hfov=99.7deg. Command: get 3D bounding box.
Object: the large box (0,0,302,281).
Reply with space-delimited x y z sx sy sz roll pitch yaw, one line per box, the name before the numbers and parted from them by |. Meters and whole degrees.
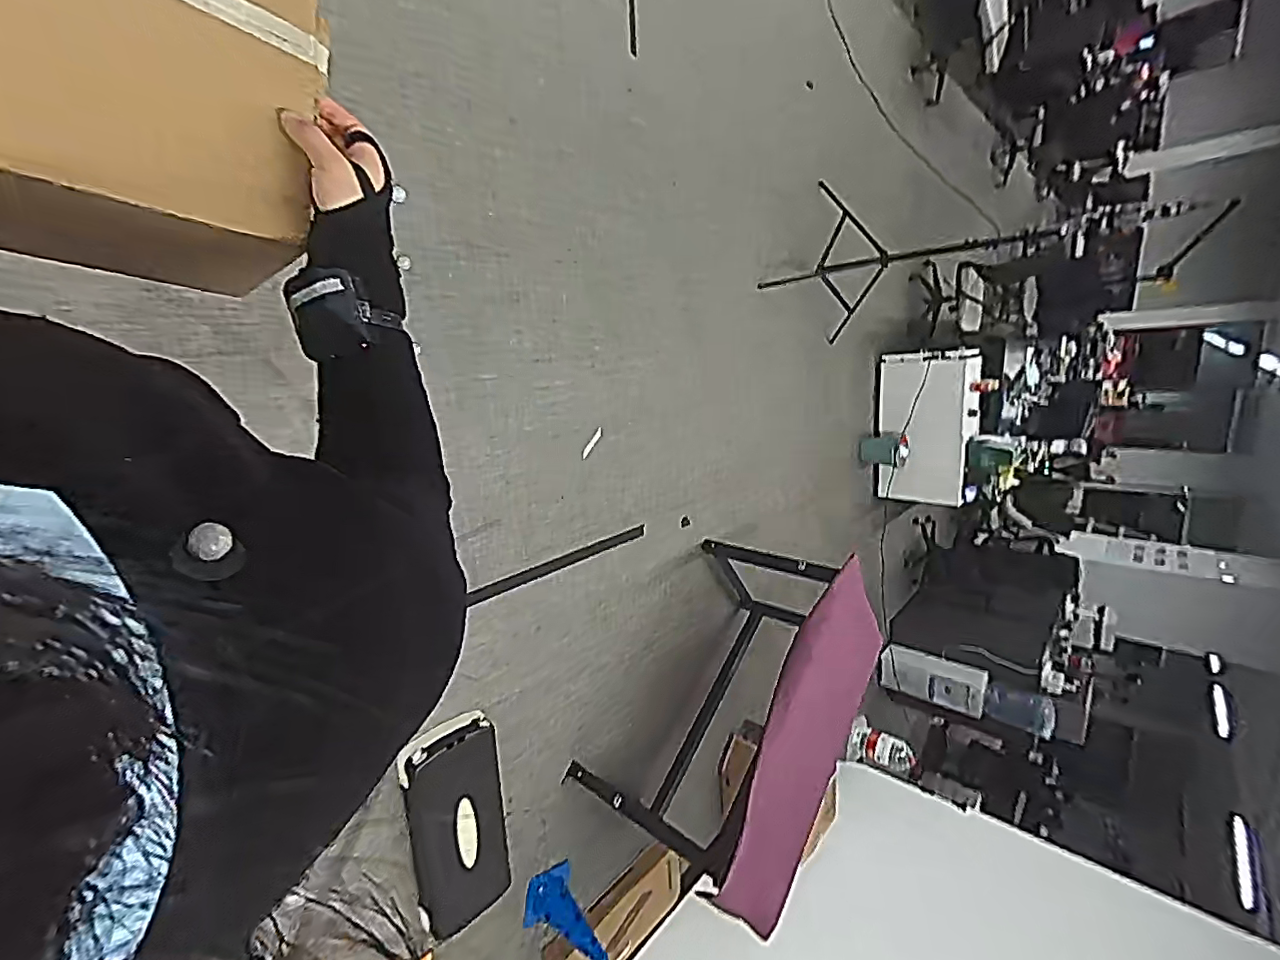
large box | -0.524 -0.370 0.415 0.408 0.320 0.320 -1 96 -44
